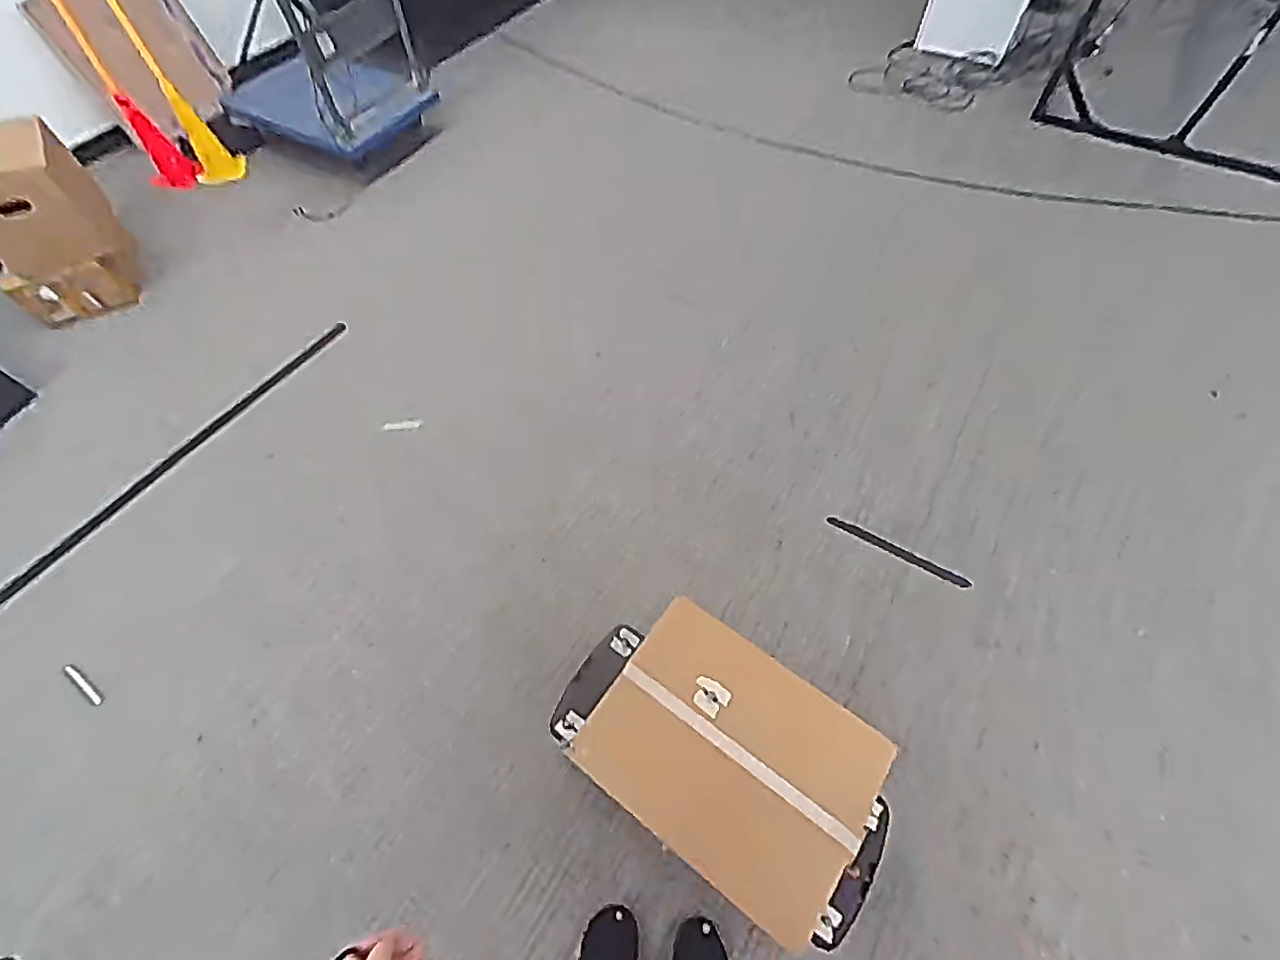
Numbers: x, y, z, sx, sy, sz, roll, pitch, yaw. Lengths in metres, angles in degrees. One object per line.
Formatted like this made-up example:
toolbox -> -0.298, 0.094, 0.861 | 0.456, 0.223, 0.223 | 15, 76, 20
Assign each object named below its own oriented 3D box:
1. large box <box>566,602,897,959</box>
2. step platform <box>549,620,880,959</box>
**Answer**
large box -> 0.145, 0.485, 0.932 | 0.408, 0.320, 0.320 | 31, 65, 20
step platform -> 0.131, 0.607, 1.139 | 0.684, 0.204, 0.286 | 34, 66, 21
